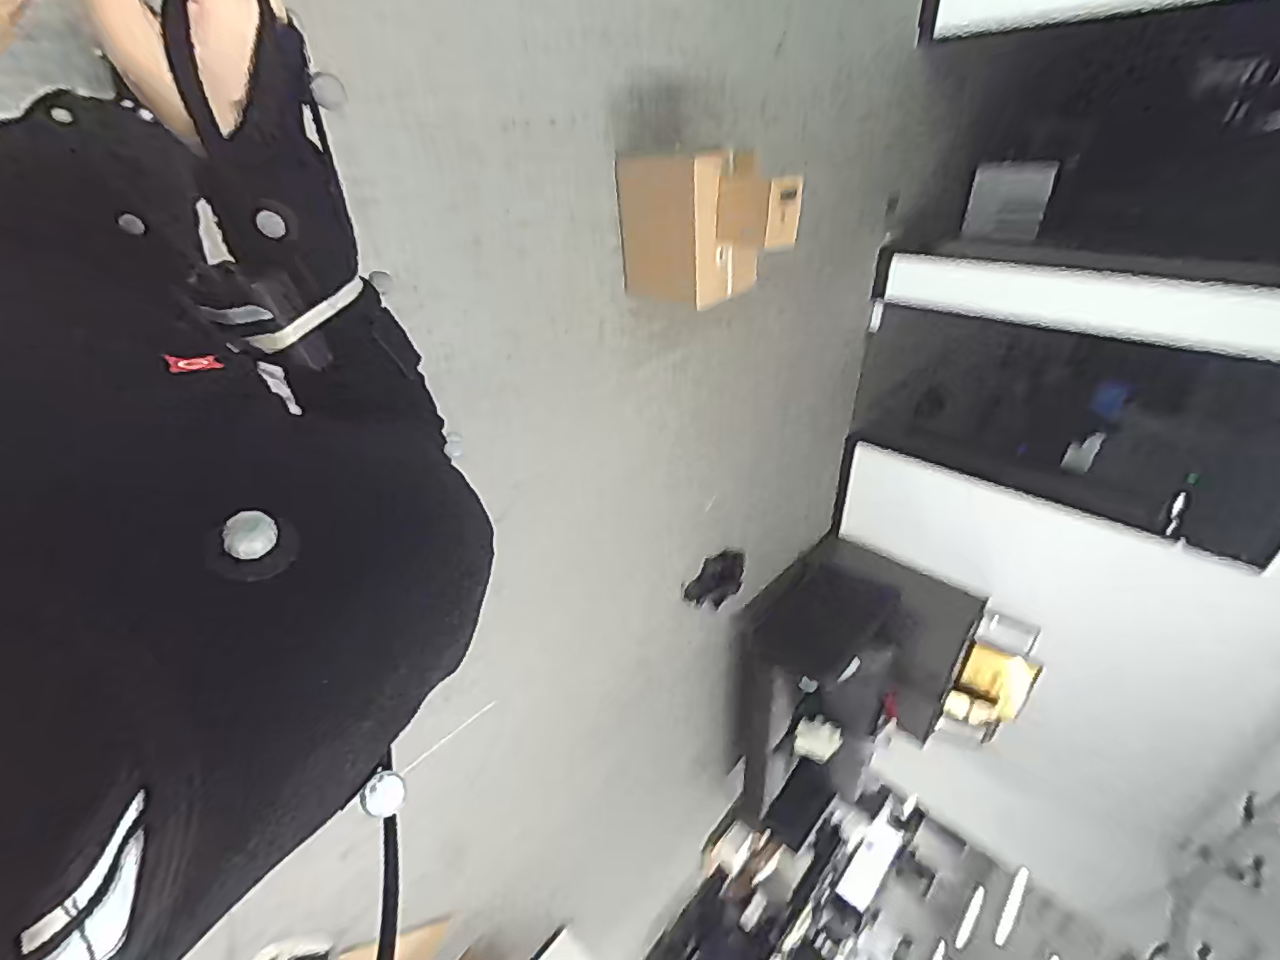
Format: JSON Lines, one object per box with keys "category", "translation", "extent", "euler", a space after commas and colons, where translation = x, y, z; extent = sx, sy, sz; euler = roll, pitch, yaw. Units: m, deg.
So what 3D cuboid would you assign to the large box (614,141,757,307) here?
{"category": "large box", "translation": [0.146, -0.809, 1.696], "extent": [0.320, 0.320, 0.408], "euler": [-33, 134, -33]}
